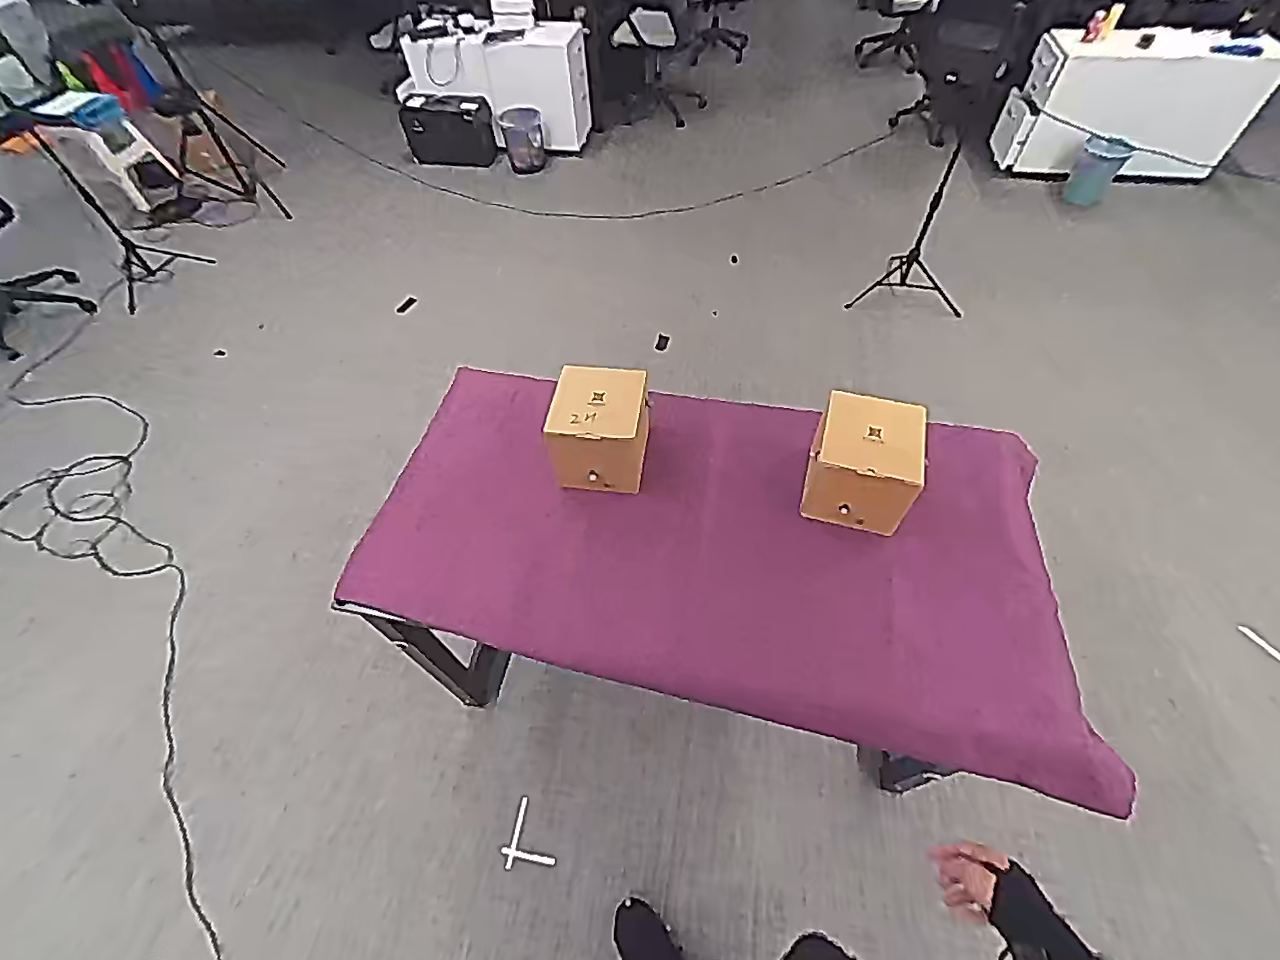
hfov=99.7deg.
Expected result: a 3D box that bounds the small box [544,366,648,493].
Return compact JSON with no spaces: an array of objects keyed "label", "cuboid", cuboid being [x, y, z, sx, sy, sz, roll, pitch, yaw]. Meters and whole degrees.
[{"label":"small box","cuboid":[-0.076,-0.097,1.058,0.168,0.176,0.179,5,55,6]}]

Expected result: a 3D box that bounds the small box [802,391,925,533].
[{"label":"small box","cuboid":[0.402,-0.031,0.989,0.168,0.176,0.179,13,57,12]}]
